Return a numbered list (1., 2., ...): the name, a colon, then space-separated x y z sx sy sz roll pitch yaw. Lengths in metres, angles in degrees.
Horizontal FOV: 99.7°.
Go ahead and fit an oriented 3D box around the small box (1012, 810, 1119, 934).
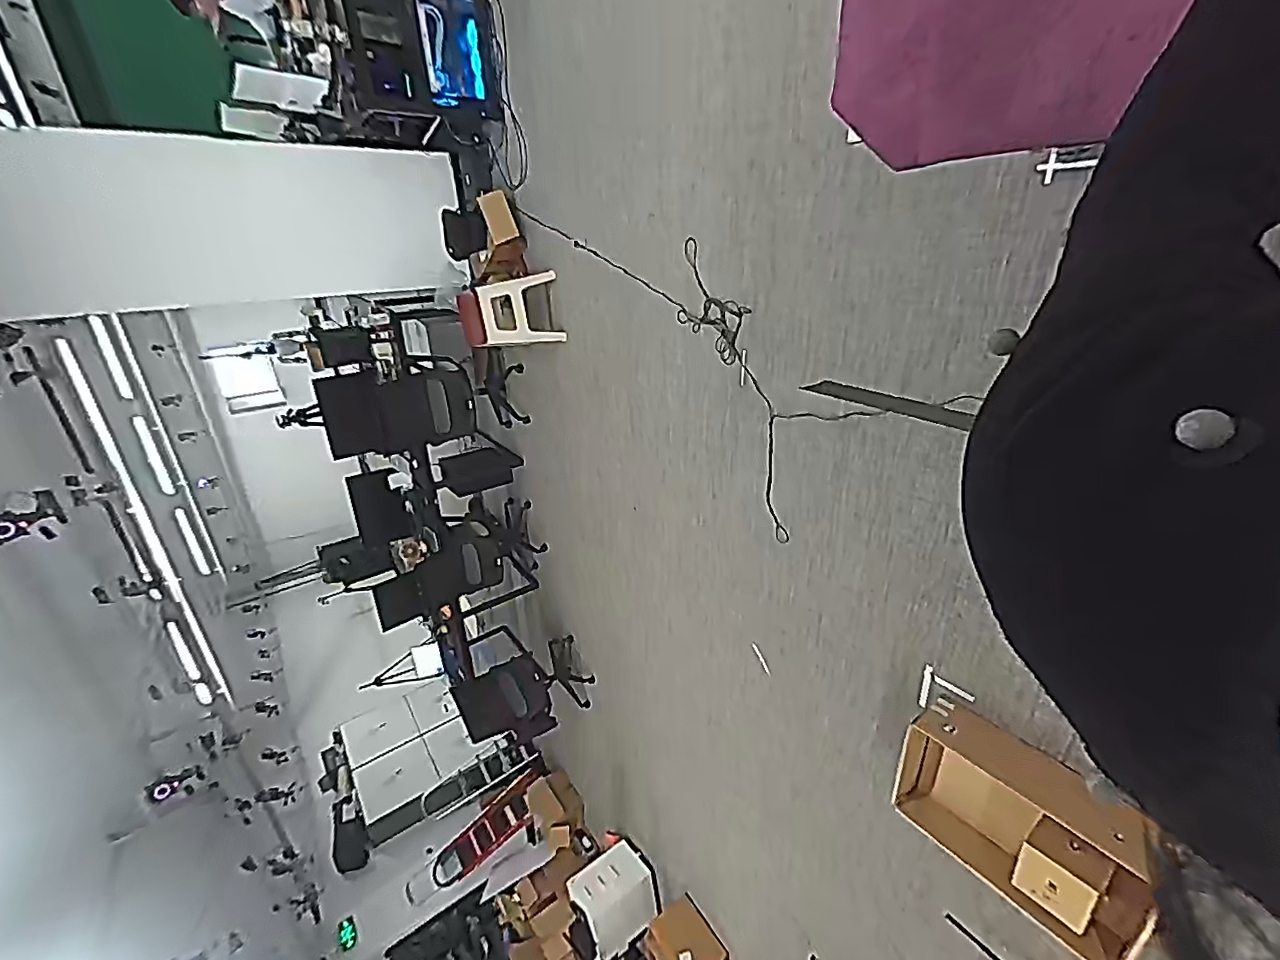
1. small box: 1.144 1.041 1.452 0.168 0.176 0.179 26 127 50
